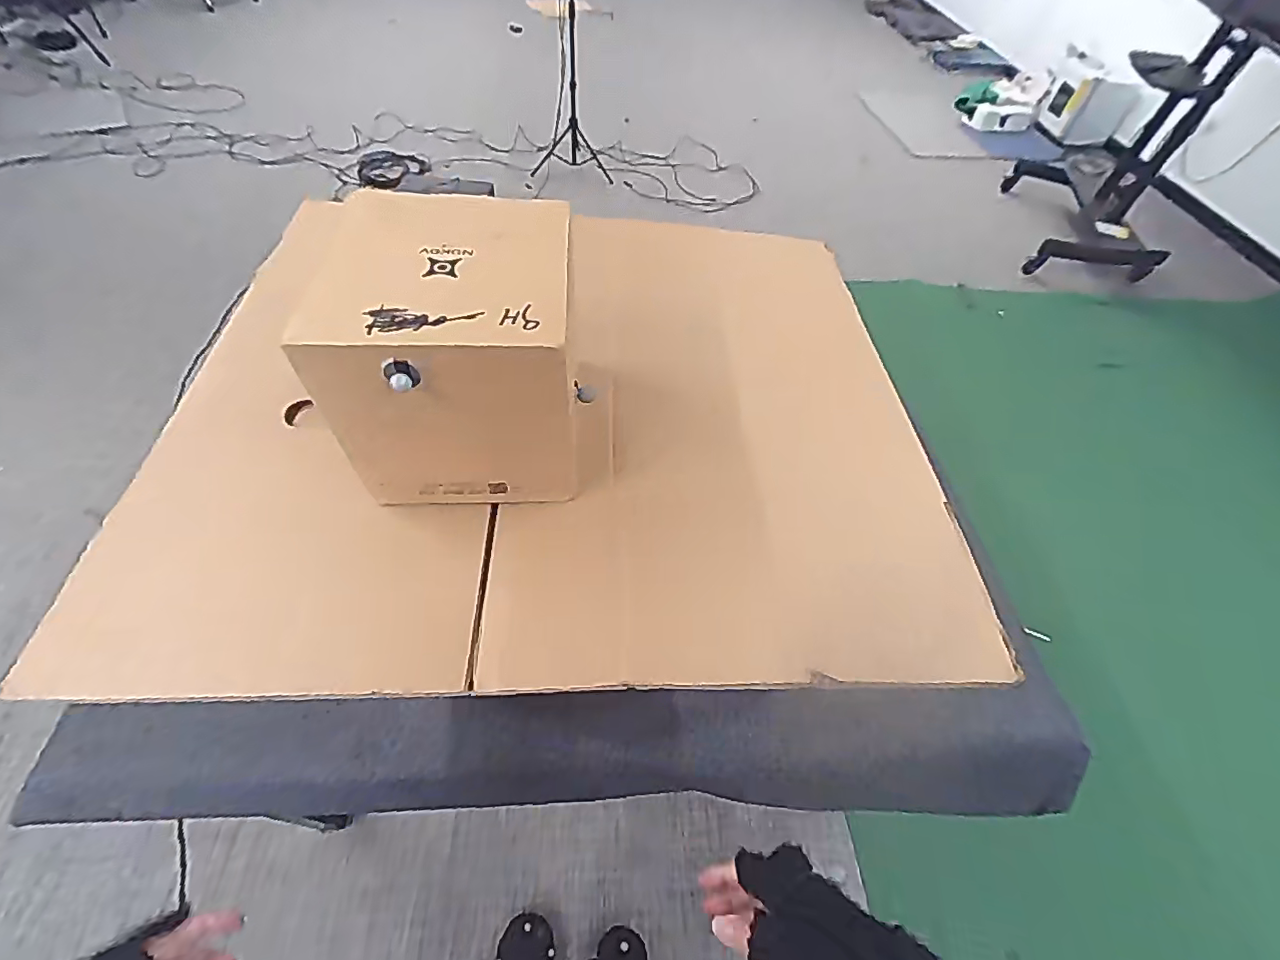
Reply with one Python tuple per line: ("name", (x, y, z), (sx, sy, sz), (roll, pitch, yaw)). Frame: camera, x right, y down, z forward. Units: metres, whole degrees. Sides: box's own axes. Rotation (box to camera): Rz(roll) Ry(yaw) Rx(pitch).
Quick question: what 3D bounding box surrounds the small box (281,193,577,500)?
("small box", (-0.139, -0.103, 0.436), (0.168, 0.176, 0.179), (-1, 54, -4))
